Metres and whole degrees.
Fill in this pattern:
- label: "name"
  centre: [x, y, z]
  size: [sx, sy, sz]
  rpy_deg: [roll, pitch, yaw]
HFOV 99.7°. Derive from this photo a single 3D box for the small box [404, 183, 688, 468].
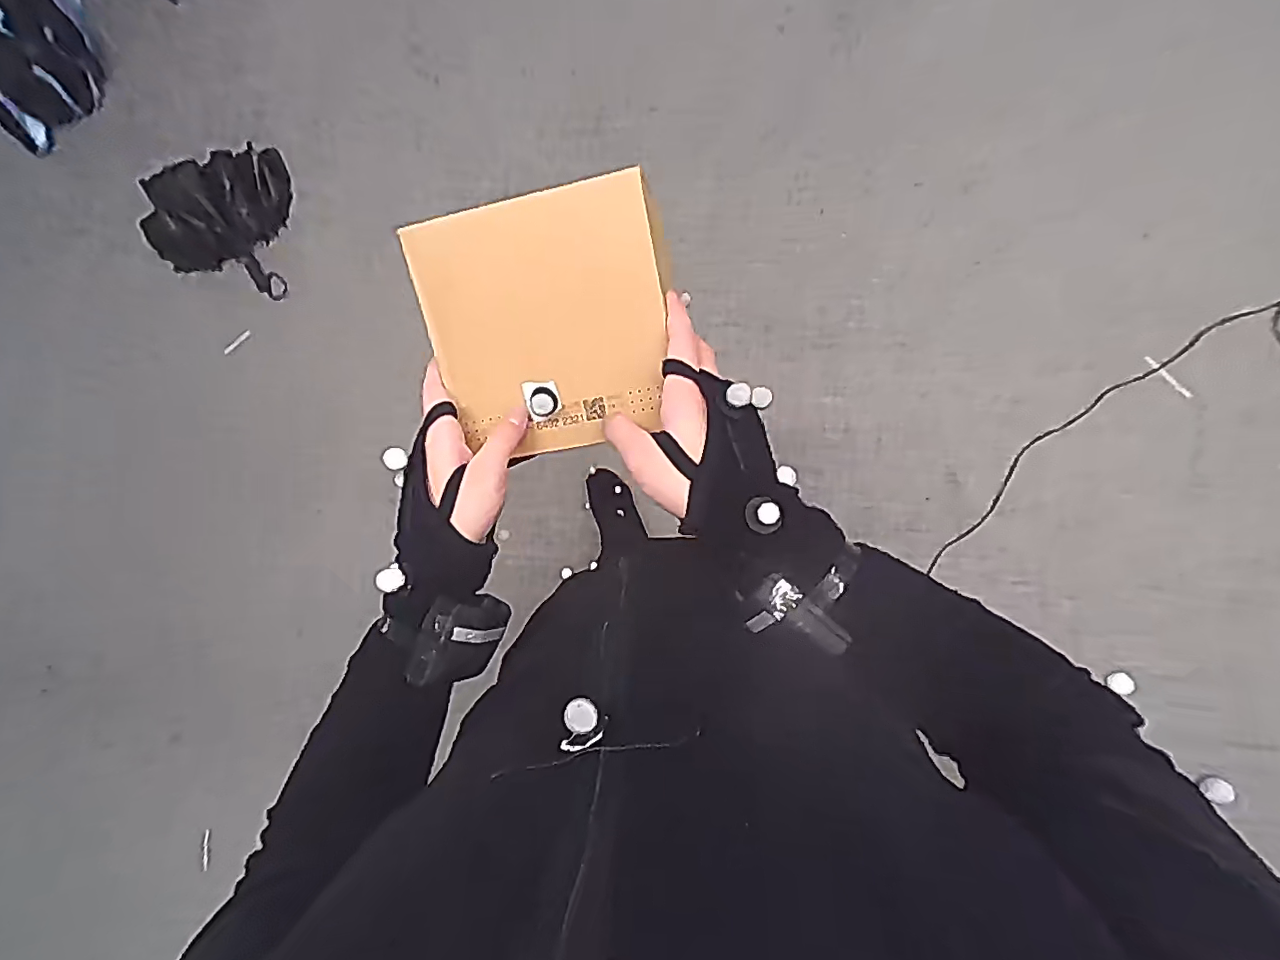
- label: "small box"
  centre: [-0.057, -0.116, 0.450]
  size: [0.168, 0.179, 0.176]
  rpy_deg: [-11, 105, 8]
